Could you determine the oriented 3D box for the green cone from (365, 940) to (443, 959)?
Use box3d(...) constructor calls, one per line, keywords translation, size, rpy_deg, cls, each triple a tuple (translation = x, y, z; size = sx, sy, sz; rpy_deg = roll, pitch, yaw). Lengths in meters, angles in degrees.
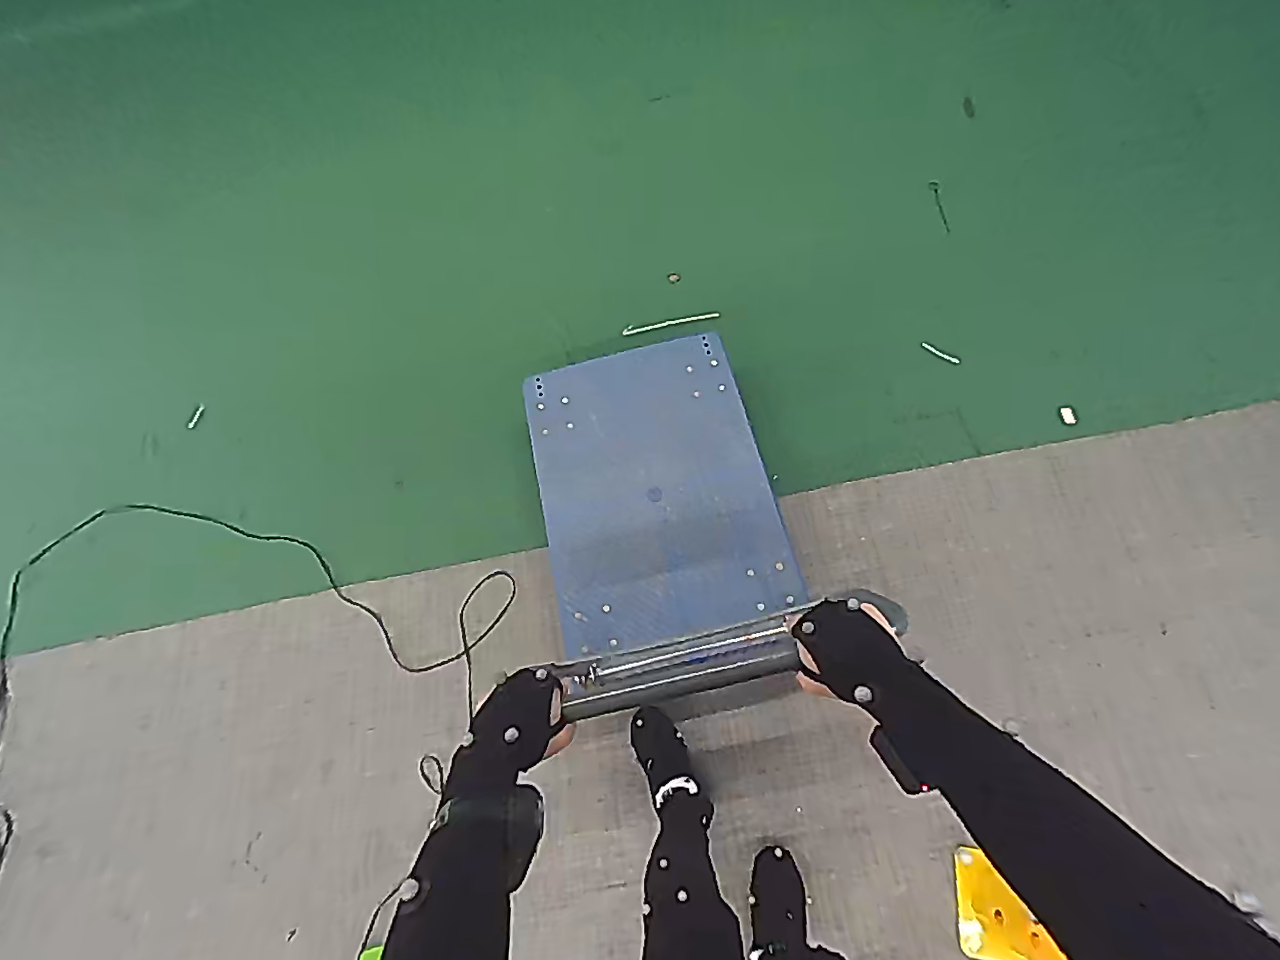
box3d(translation=(-0.547, 1.095, 1.037), size=(0.202, 0.368, 0.200), rpy_deg=(-16, 68, 2), cls="green cone")
